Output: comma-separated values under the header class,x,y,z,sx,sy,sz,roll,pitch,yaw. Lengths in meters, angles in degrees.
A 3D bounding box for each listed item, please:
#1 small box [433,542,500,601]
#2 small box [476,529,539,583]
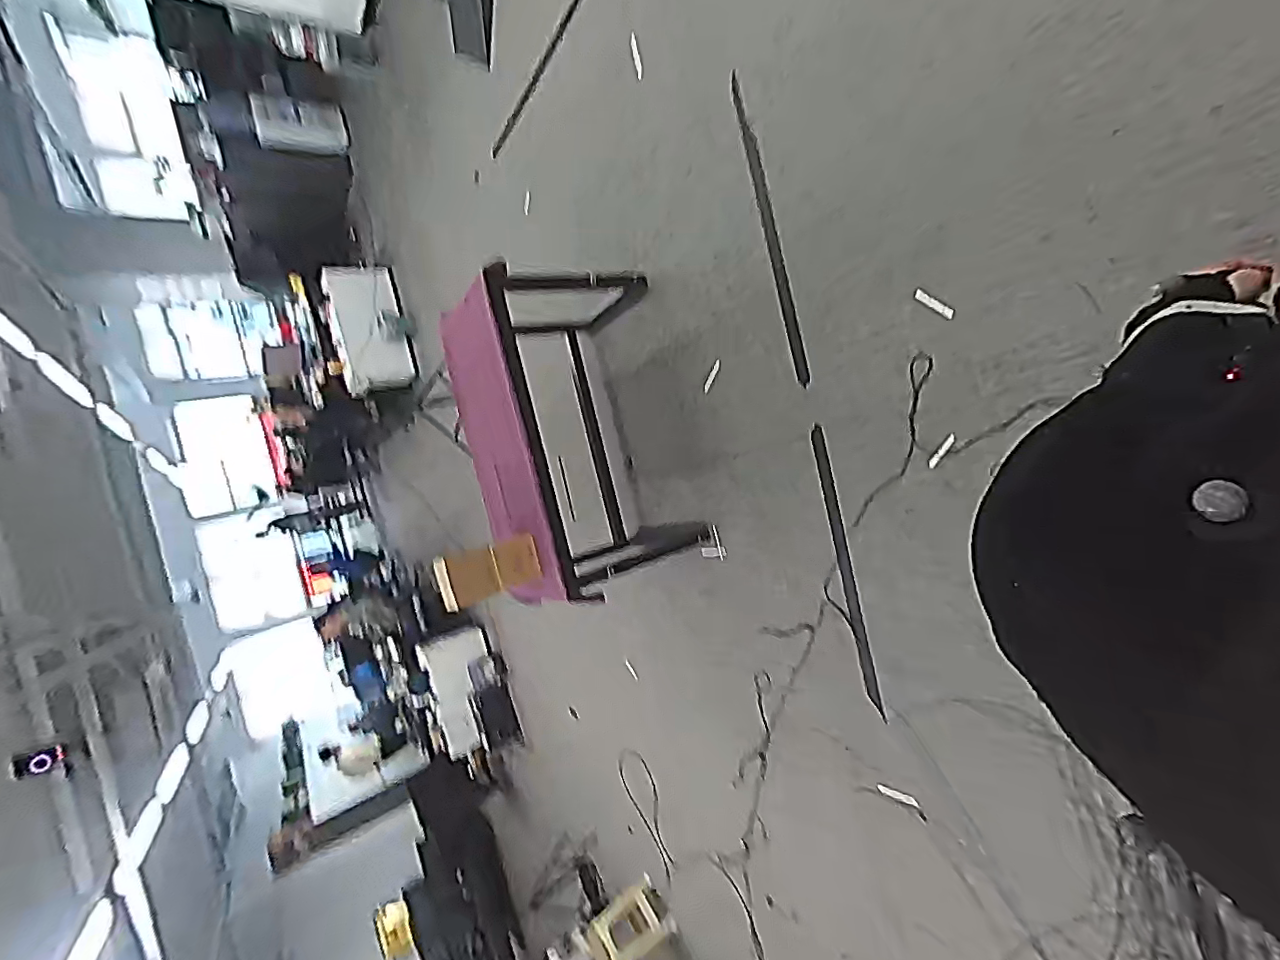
class,x,y,z,sx,sy,sz,roll,pitch,yaw
small box,-0.633,0.332,1.976,0.168,0.176,0.179,-21,85,56
small box,-0.501,0.290,2.063,0.179,0.176,0.168,-17,88,56
